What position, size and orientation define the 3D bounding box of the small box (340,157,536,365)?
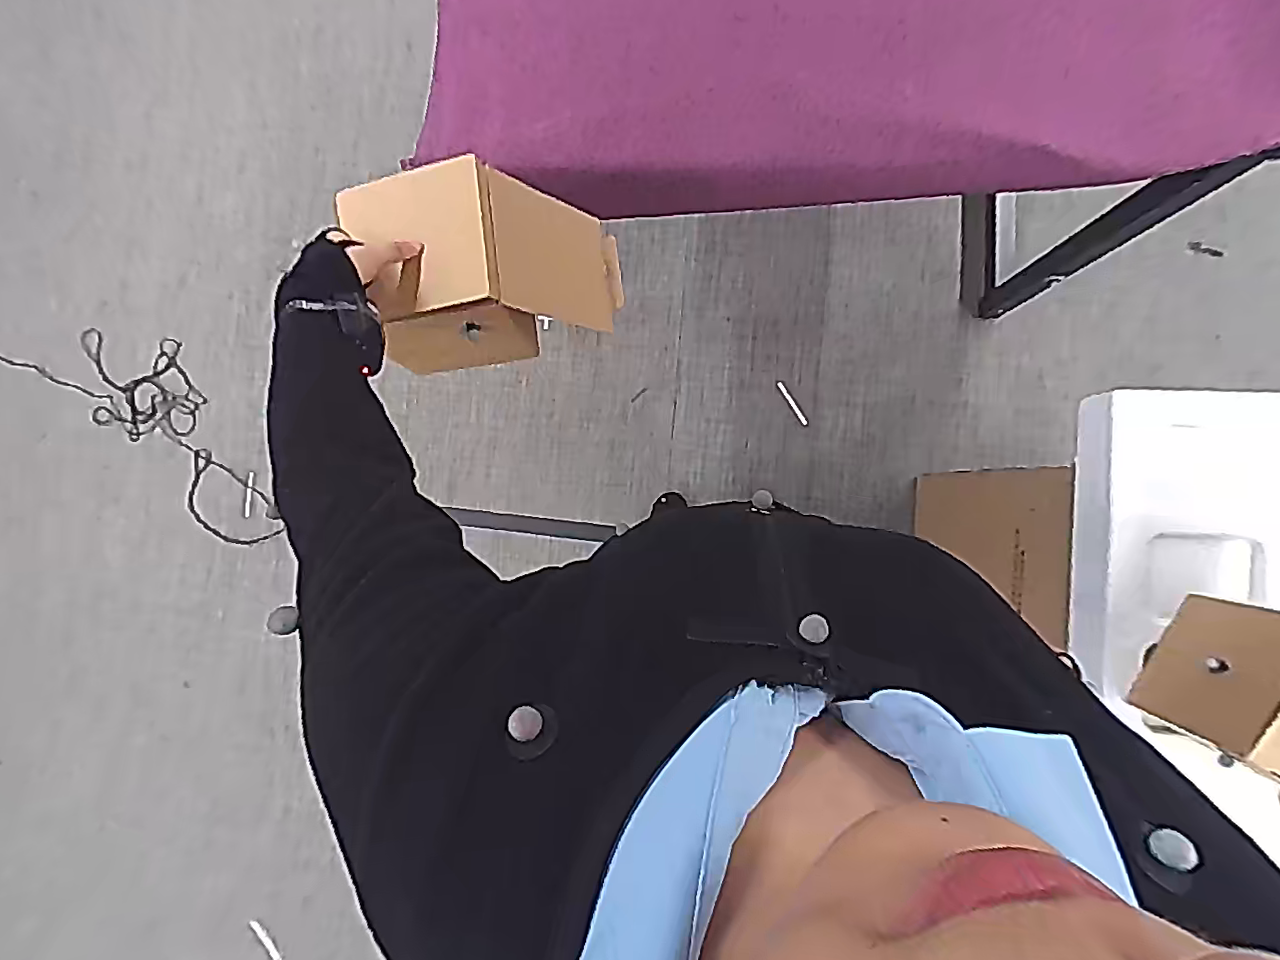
[{"bbox_3d":[-0.234,-0.254,0.667,0.179,0.176,0.168,-8,82,4],"label":"small box"}]
